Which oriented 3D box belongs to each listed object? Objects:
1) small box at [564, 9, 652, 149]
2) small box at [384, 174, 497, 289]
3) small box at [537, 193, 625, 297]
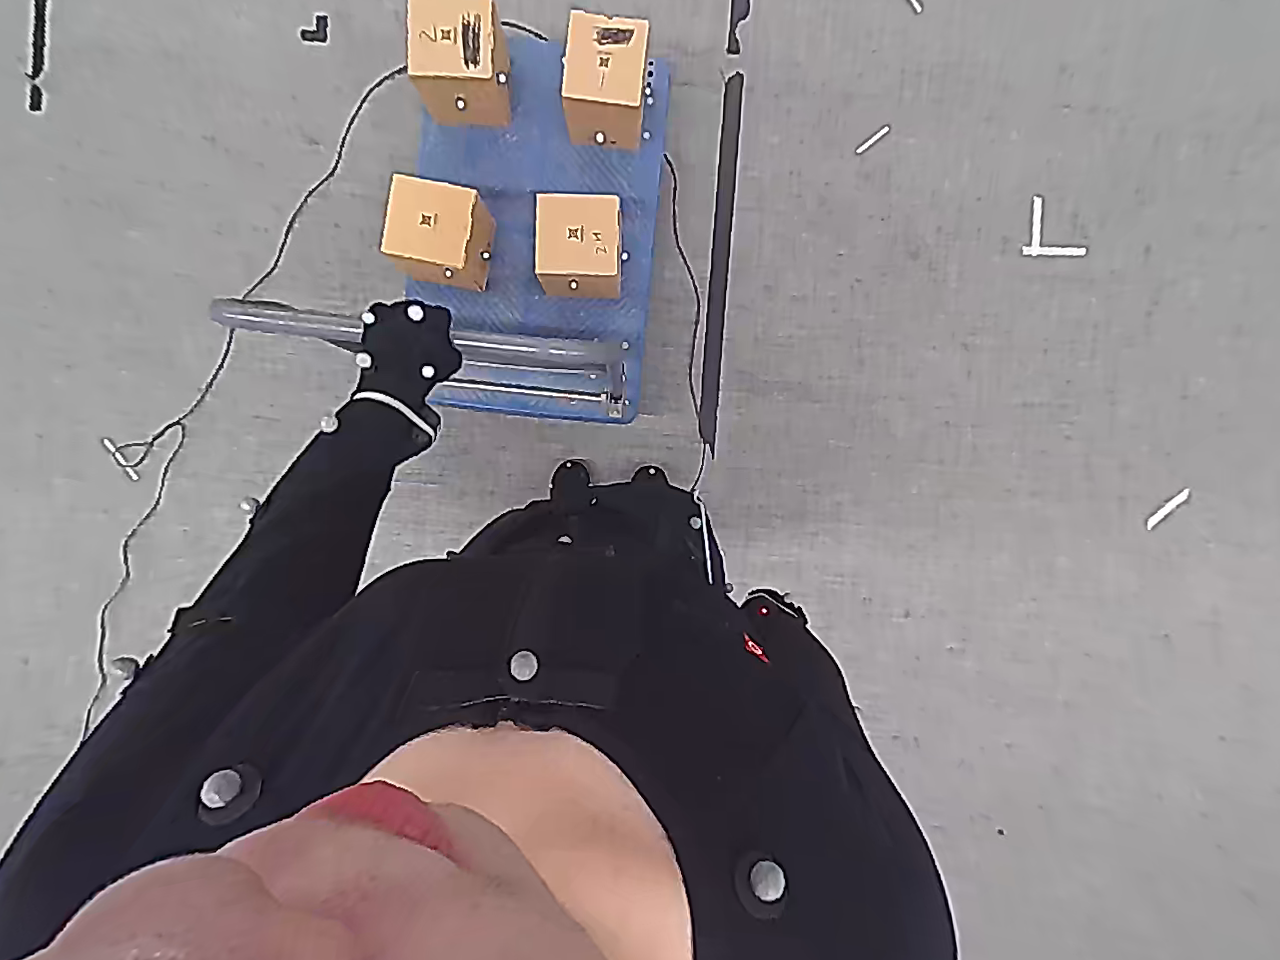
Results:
[{"bbox_3d":[-0.067,-0.871,1.188,0.168,0.176,0.179,7,94,-1],"label":"small box"},{"bbox_3d":[-0.434,-0.541,1.200,0.179,0.176,0.168,10,92,-3],"label":"small box"},{"bbox_3d":[-0.126,-0.515,1.204,0.179,0.176,0.168,2,93,-1],"label":"small box"}]
